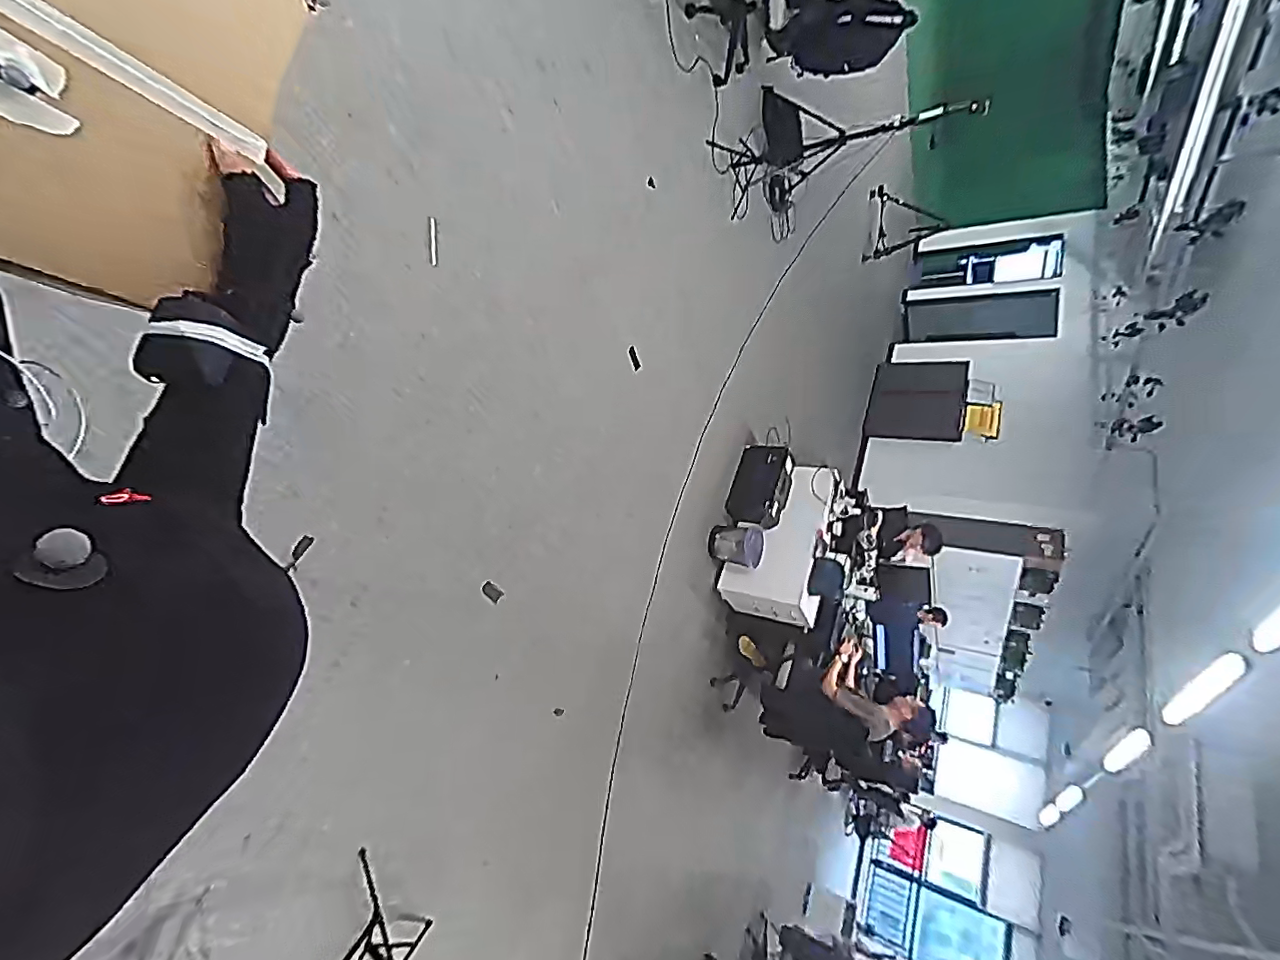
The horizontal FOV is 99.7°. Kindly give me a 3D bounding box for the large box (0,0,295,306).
[{"bbox_3d":[-0.560,-0.359,0.379,0.408,0.320,0.320,16,92,-59],"label":"large box"}]
